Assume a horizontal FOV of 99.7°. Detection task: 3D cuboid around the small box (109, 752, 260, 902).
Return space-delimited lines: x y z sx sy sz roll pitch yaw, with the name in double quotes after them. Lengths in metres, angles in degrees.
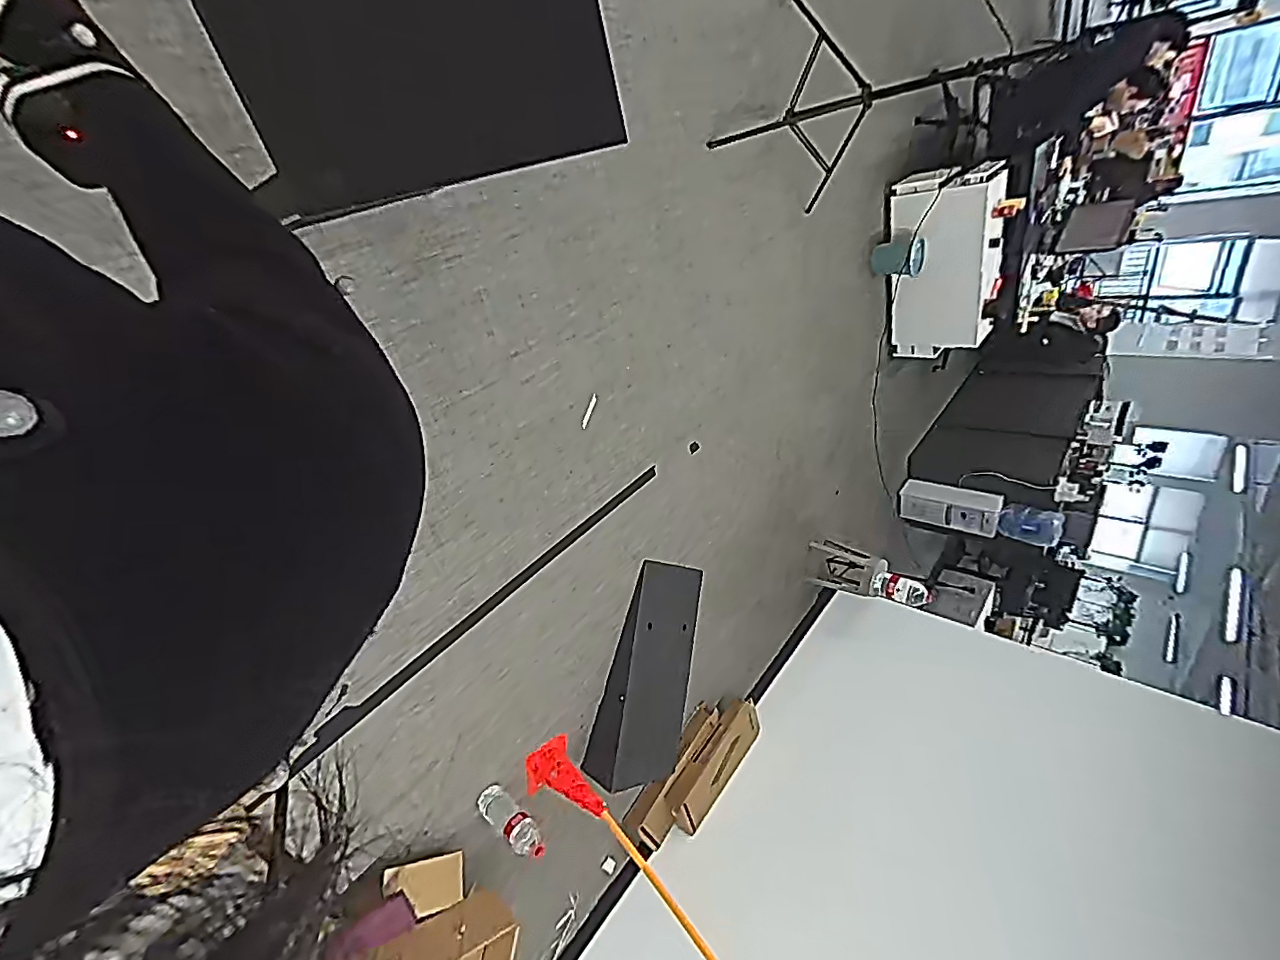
-0.936 0.704 1.115 0.168 0.176 0.179 -40 129 -32 "small box"
